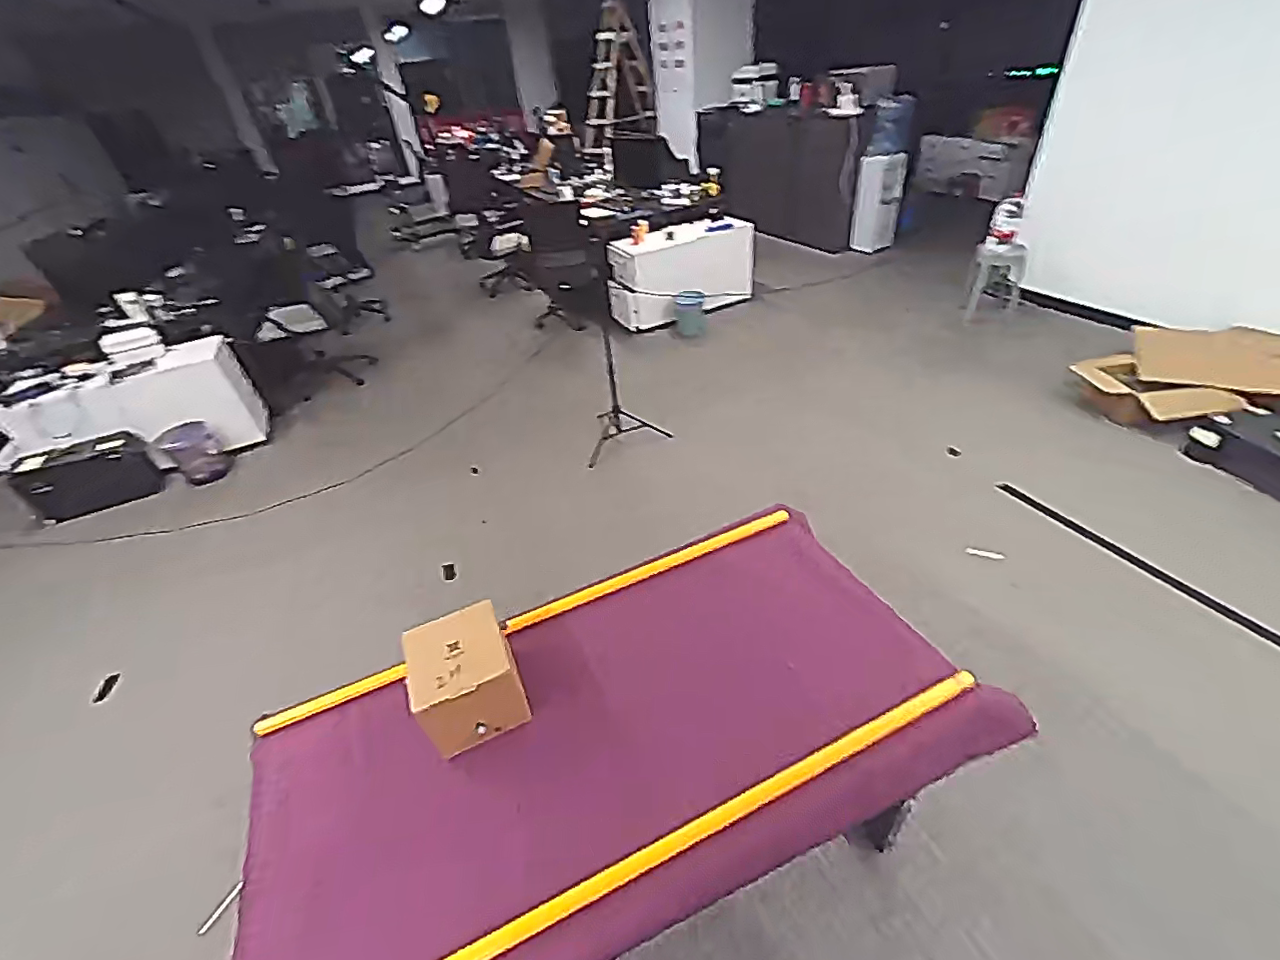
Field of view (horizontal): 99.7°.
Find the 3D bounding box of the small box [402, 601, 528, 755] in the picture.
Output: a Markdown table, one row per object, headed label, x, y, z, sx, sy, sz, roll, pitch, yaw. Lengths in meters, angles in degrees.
| label | x | y | z | sx | sy | sz | roll | pitch | yaw |
| --- | --- | --- | --- | --- | --- | --- | --- | --- | --- |
| small box | -0.321 | 0.364 | 0.999 | 0.168 | 0.176 | 0.179 | -20 | 41 | -16 |
